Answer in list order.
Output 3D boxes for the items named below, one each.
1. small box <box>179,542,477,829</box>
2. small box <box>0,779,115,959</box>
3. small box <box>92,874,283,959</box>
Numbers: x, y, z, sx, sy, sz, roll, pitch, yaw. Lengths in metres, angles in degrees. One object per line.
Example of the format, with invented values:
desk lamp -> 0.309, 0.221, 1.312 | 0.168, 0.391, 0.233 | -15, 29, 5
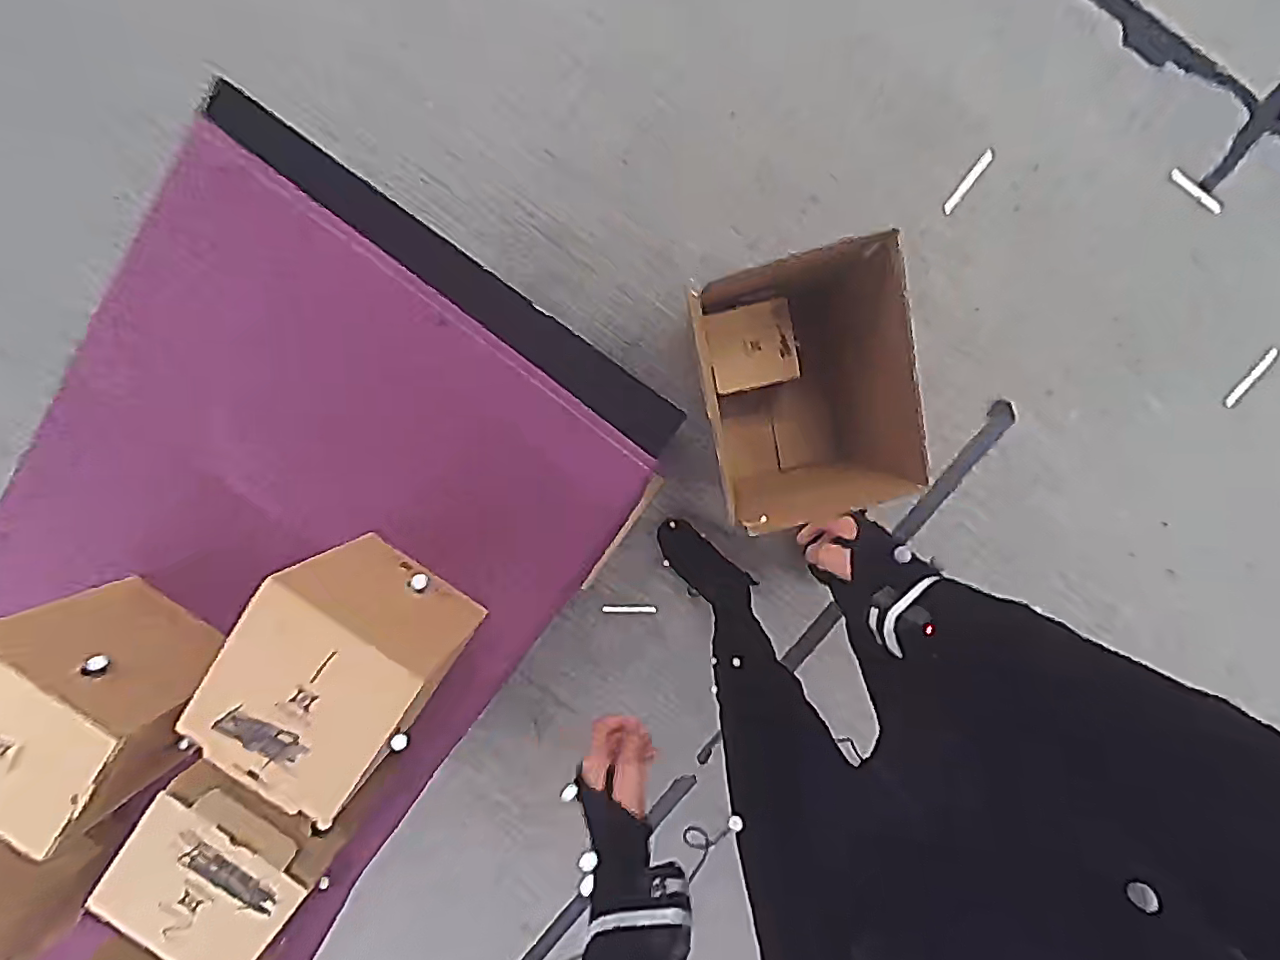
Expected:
small box -> -0.296, 0.191, 0.553 | 0.168, 0.176, 0.179 | 35, 98, -2
small box -> -0.772, 0.495, 0.615 | 0.168, 0.176, 0.179 | 33, 97, -3
small box -> -0.567, 0.623, 0.627 | 0.168, 0.176, 0.179 | 35, 97, -3
